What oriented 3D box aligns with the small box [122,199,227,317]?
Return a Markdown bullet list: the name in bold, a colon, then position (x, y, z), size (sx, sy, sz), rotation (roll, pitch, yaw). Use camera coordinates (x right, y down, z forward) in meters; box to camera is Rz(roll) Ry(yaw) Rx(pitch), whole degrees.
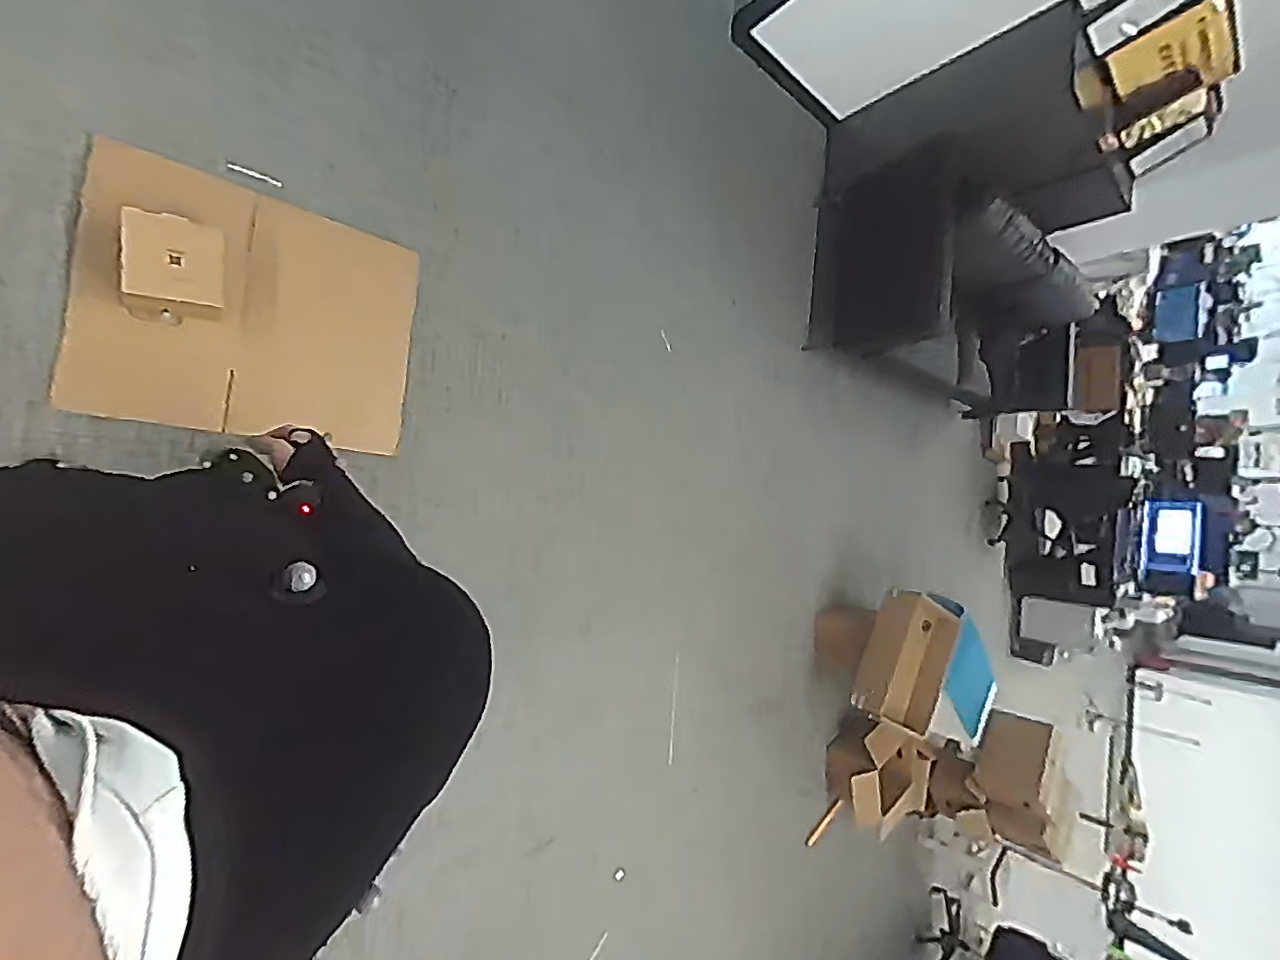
- **small box**: position (-1.016, -0.473, 1.184), size (0.168, 0.176, 0.179), rotation (1, 91, -40)
